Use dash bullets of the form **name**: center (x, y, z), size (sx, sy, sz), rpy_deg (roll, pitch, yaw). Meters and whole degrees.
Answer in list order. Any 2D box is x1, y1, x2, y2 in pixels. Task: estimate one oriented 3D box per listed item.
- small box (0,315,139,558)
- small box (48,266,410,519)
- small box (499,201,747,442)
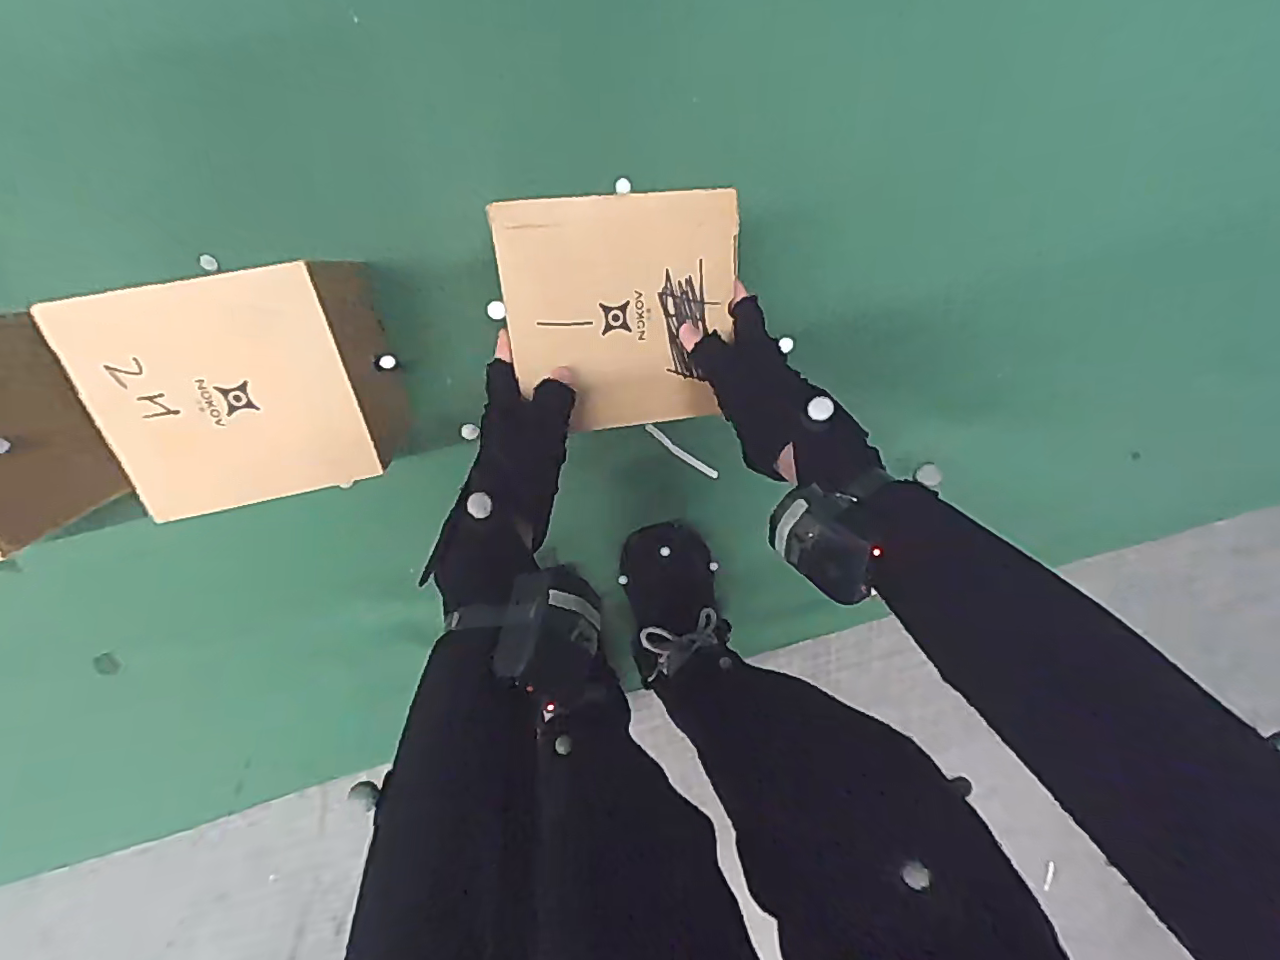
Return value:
- **small box**: center (-0.582, -0.031, 0.440), size (0.168, 0.176, 0.179), rpy_deg (-15, 114, -6)
- **small box**: center (-0.315, -0.089, 0.472), size (0.179, 0.176, 0.168), rpy_deg (-12, 113, -8)
- **small box**: center (-0.022, -0.143, 0.469), size (0.179, 0.176, 0.168), rpy_deg (-7, 112, -9)
